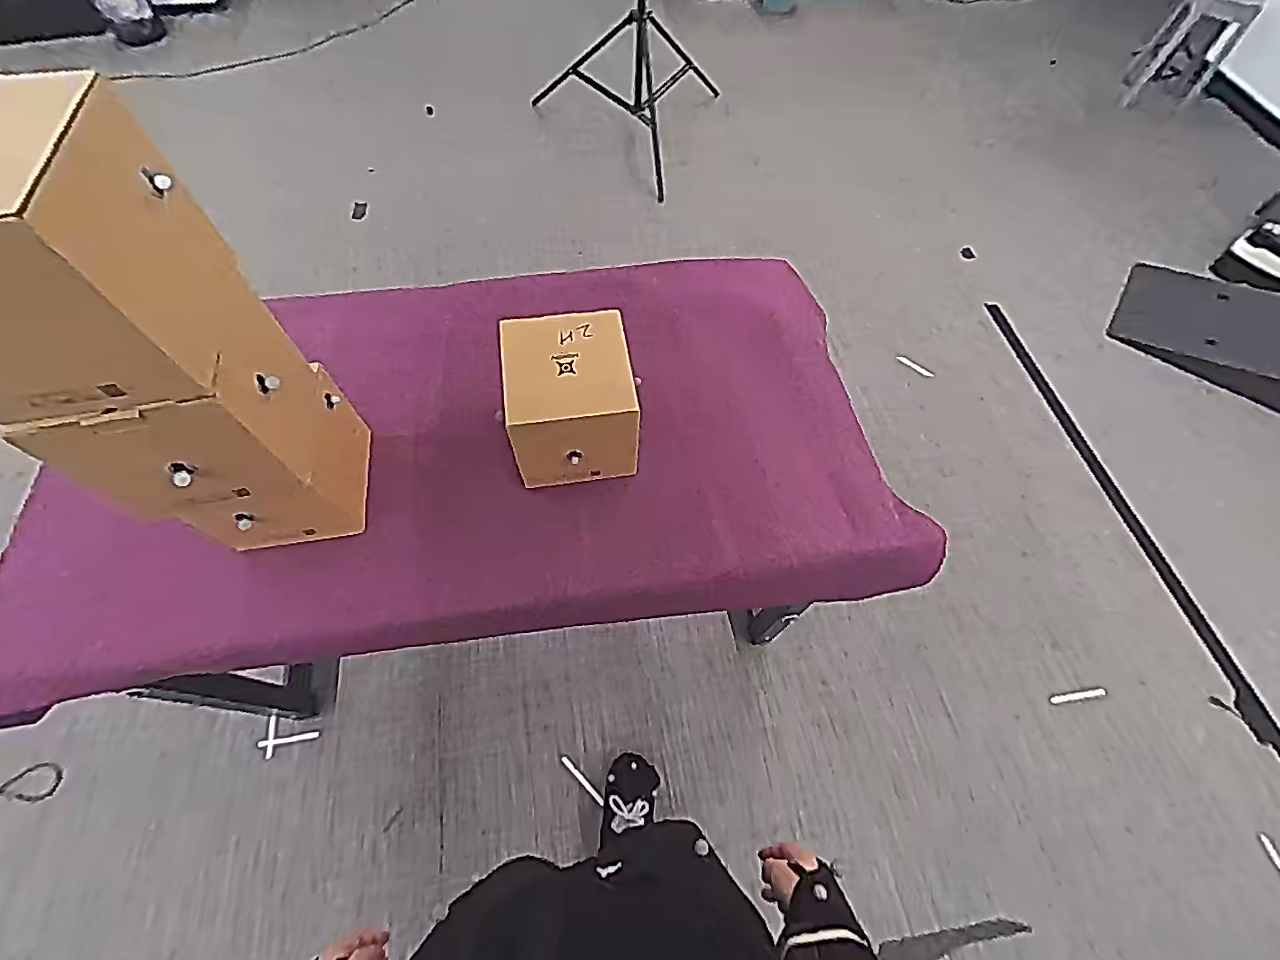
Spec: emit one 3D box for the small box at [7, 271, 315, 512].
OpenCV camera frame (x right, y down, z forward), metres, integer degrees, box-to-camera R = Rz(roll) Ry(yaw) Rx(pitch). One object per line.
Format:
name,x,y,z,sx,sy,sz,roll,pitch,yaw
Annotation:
small box,-0.462,-0.080,0.560,0.168,0.176,0.179,-12,63,-9

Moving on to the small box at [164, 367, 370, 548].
small box,-0.475,-0.021,0.713,0.168,0.176,0.179,-8,62,-6

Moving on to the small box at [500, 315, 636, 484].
small box,-0.099,-0.106,0.771,0.168,0.176,0.179,-7,62,-7
